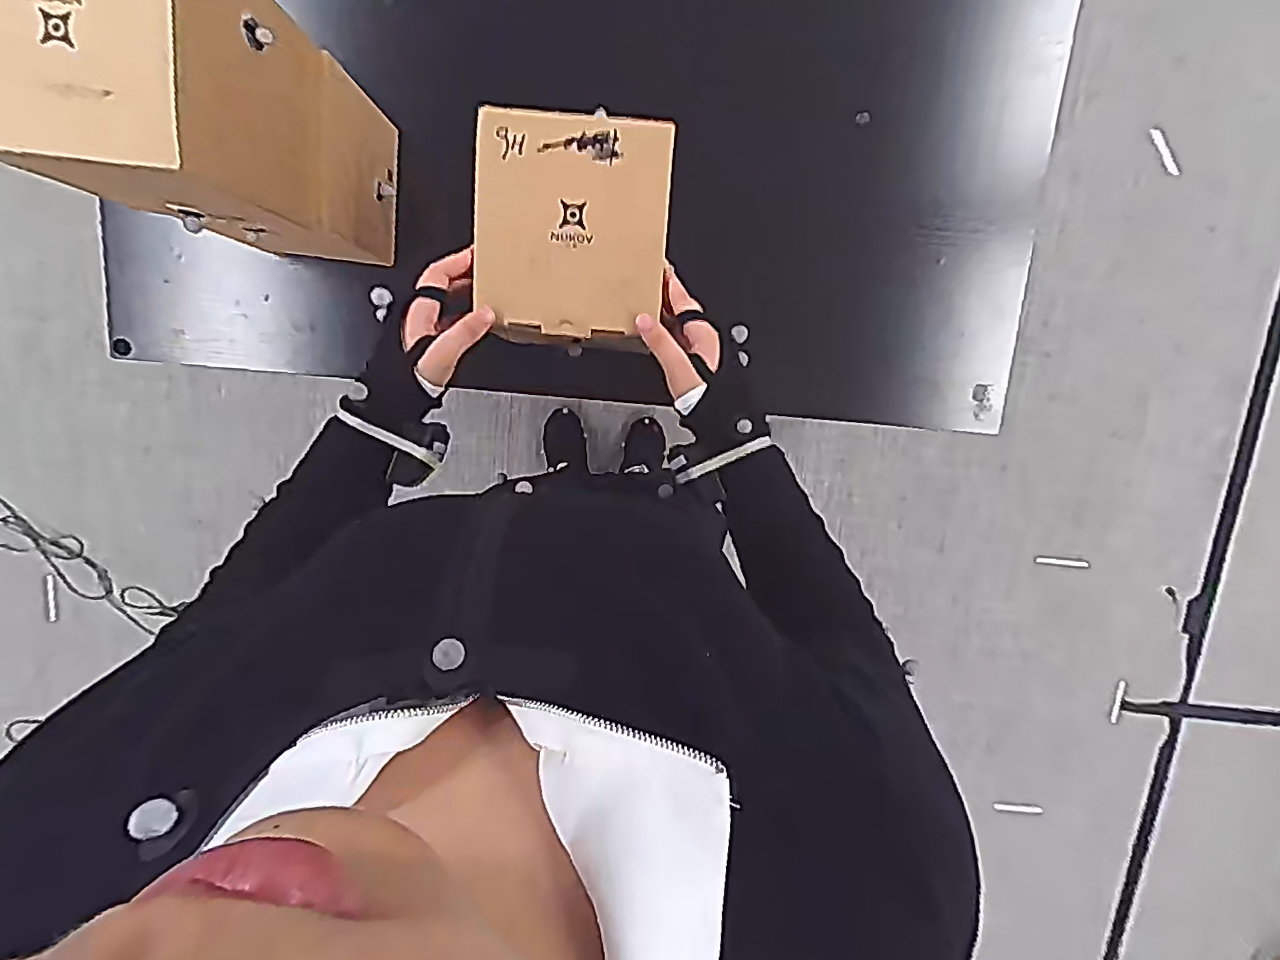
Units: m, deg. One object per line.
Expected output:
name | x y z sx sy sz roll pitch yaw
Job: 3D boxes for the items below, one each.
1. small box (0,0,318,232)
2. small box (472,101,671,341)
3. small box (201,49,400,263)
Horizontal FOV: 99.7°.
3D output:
small box | -0.397 -0.329 0.452 0.168 0.176 0.179 5 100 -1
small box | -0.061 -0.237 0.542 0.168 0.176 0.179 4 100 -2
small box | -0.398 -0.356 0.612 0.179 0.176 0.168 6 99 -3
